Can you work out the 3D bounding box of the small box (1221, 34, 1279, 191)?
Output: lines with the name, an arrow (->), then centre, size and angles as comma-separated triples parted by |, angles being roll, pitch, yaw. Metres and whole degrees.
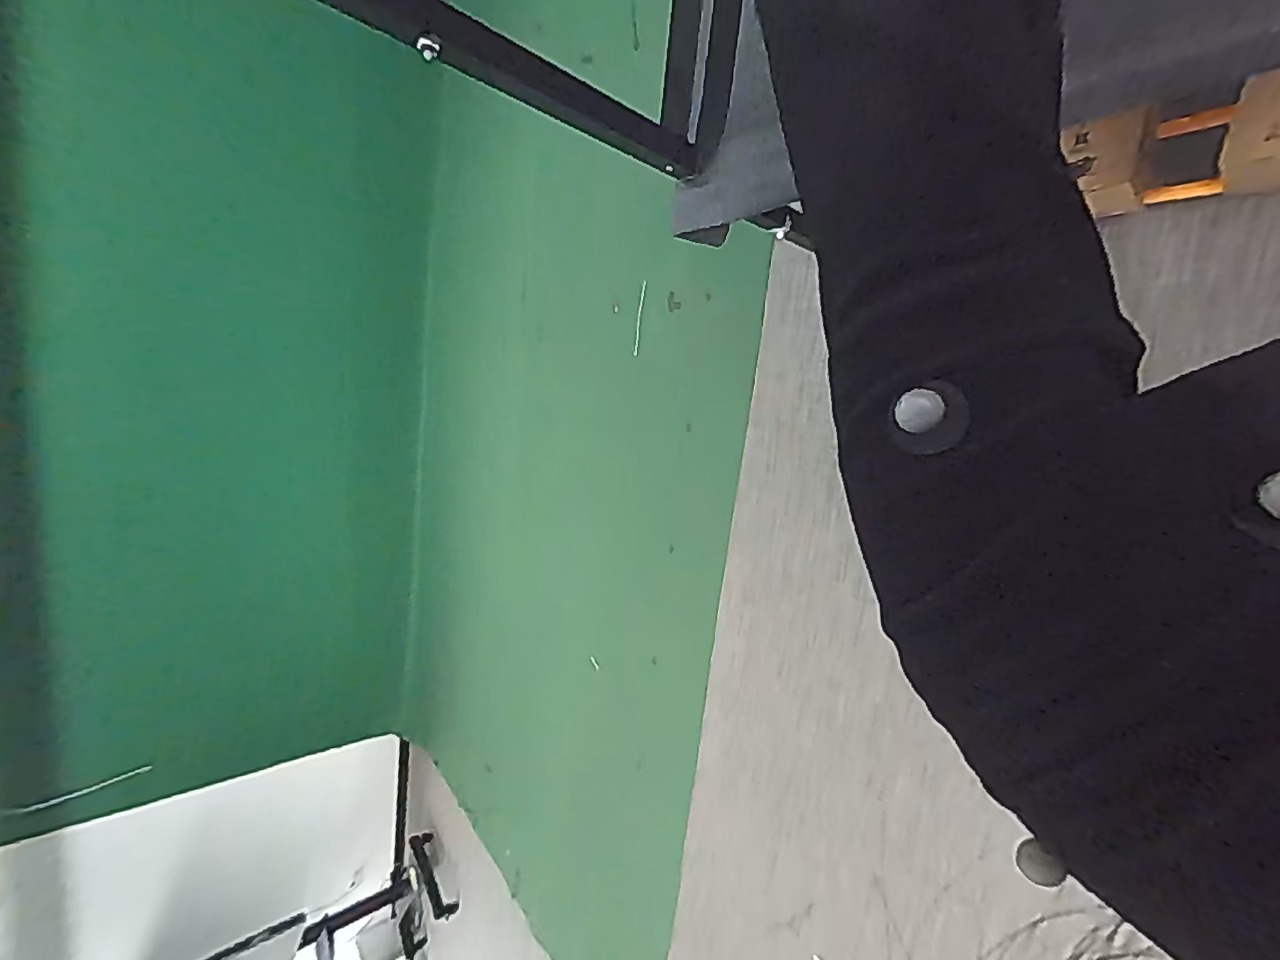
small box -> 1.058, -0.579, 0.843 | 0.168, 0.176, 0.179 | 23, 110, 47
